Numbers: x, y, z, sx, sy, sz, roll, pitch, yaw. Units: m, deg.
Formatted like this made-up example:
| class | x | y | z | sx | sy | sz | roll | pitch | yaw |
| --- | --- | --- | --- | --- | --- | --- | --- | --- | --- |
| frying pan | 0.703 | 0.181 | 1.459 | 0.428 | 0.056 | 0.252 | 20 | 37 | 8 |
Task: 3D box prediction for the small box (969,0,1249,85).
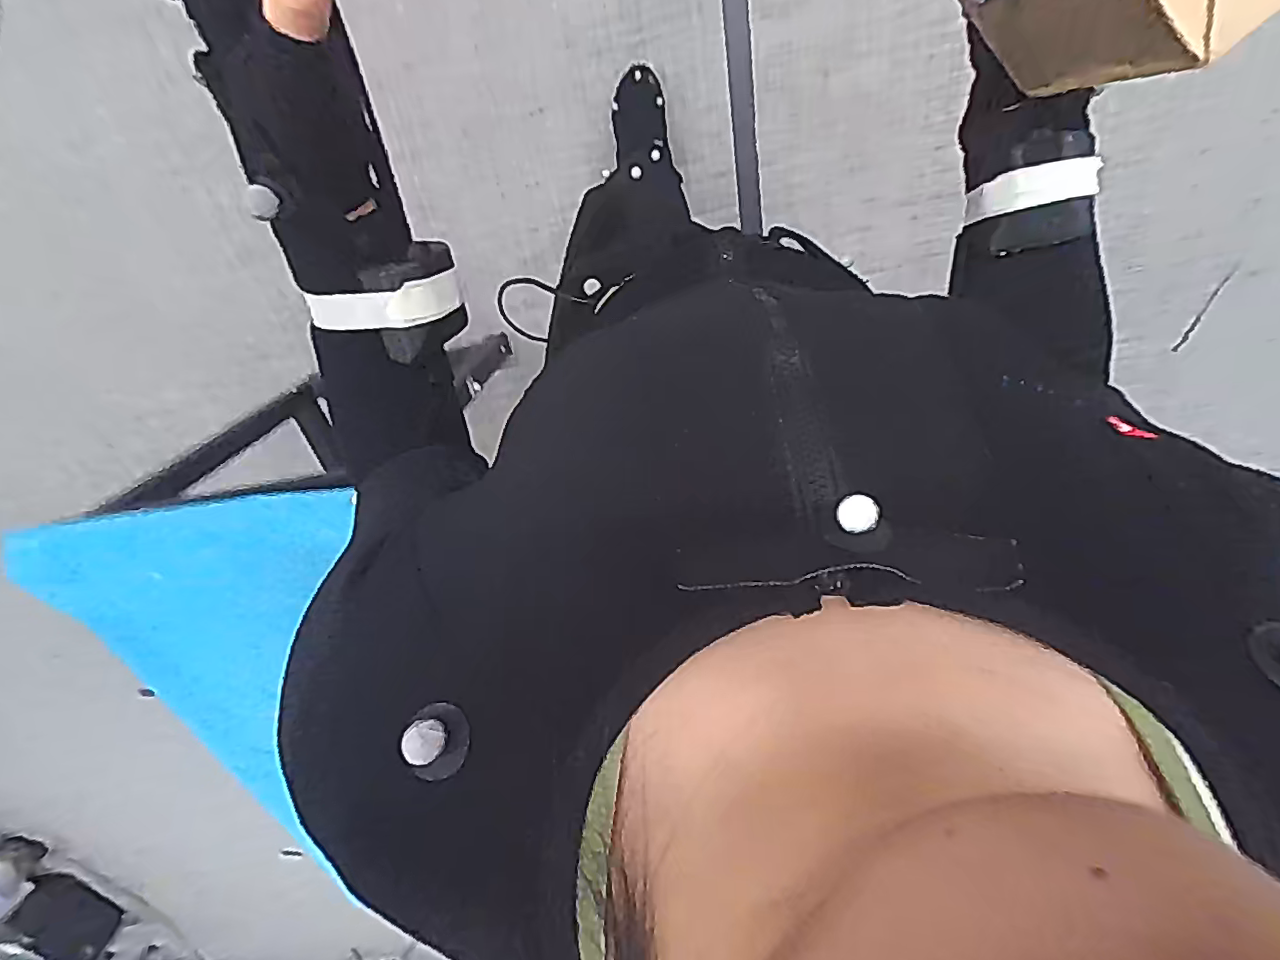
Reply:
| class | x | y | z | sx | sy | sz | roll | pitch | yaw |
| --- | --- | --- | --- | --- | --- | --- | --- | --- | --- |
| small box | 0.215 | -0.300 | 0.206 | 0.179 | 0.176 | 0.168 | 42 | 121 | -13 |
